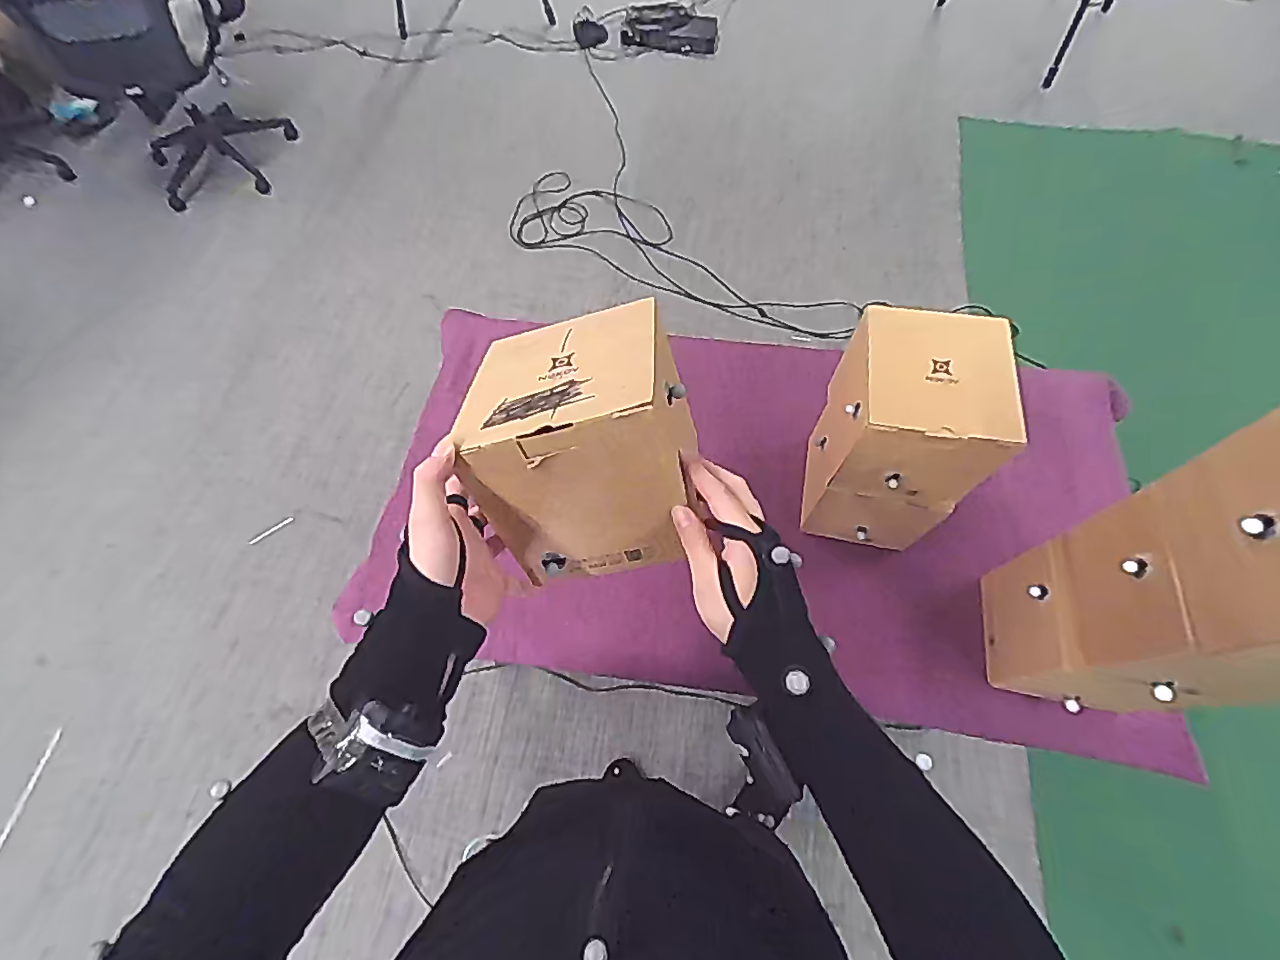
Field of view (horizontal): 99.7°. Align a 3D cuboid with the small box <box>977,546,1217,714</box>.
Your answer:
[{"bbox_3d":[0.587,0.207,0.722,0.179,0.176,0.168,10,64,8],"label":"small box"}]

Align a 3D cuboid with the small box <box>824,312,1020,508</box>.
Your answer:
[{"bbox_3d":[0.341,-0.083,0.691,0.168,0.176,0.179,8,66,5],"label":"small box"}]

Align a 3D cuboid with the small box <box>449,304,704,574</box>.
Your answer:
[{"bbox_3d":[-0.040,-0.029,0.499,0.168,0.176,0.179,-12,39,12],"label":"small box"}]

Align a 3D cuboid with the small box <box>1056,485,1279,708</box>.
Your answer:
[{"bbox_3d":[0.584,0.130,0.577,0.168,0.176,0.179,10,65,9],"label":"small box"}]

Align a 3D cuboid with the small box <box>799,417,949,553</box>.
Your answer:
[{"bbox_3d":[0.352,-0.007,0.834,0.168,0.176,0.179,11,65,7],"label":"small box"}]
